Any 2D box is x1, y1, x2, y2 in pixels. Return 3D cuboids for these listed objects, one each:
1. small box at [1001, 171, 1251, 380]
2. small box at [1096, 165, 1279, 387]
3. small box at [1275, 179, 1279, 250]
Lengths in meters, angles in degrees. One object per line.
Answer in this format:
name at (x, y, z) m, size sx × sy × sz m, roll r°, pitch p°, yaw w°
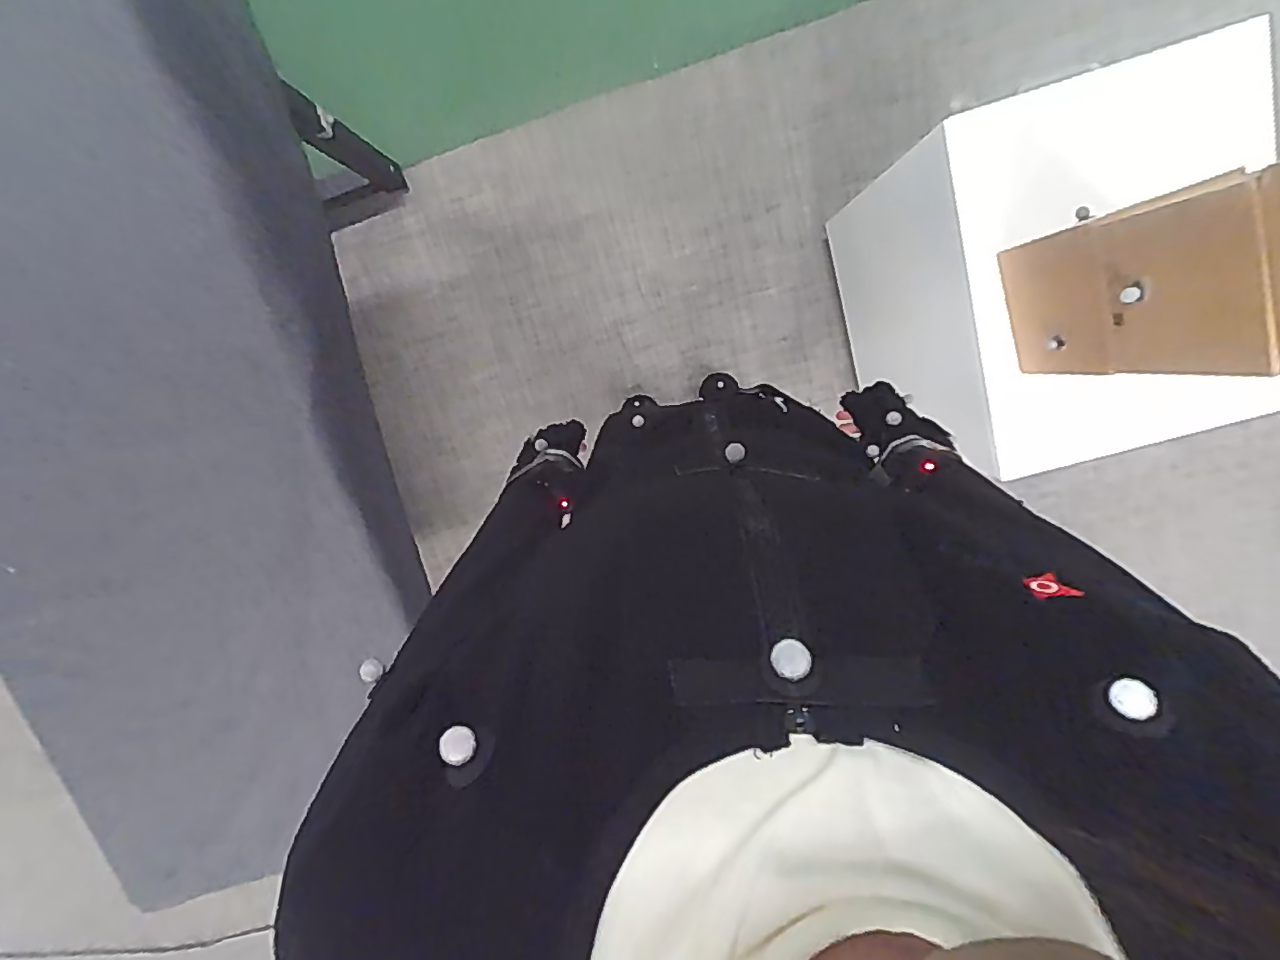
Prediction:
small box at (0.585, -0.232, 0.659) m, size 0.168 × 0.176 × 0.179 m, roll -19°, pitch 99°, yaw 6°
small box at (0.586, -0.196, 0.499) m, size 0.179 × 0.176 × 0.168 m, roll -21°, pitch 101°, yaw 5°
small box at (0.575, -0.163, 0.339) m, size 0.168 × 0.176 × 0.179 m, roll -20°, pitch 100°, yaw 7°
